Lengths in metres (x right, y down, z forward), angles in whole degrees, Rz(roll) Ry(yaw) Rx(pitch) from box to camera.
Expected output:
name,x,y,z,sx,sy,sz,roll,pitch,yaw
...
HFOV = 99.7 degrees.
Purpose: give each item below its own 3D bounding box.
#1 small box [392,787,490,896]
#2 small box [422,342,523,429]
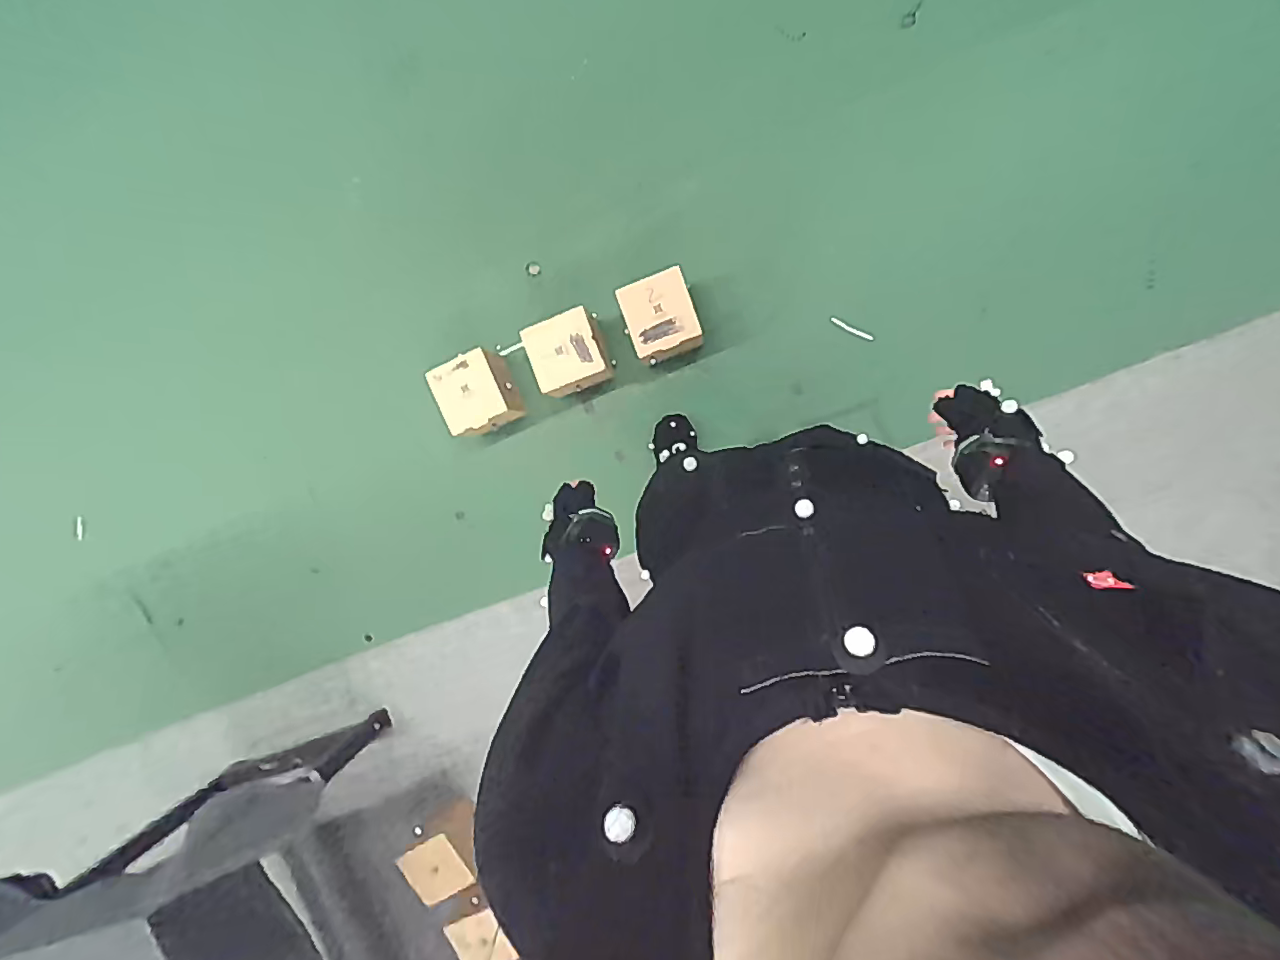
name,x,y,z,sx,sy,sz,roll,pitch,yaw
small box,-0.574,1.049,1.582,0.179,0.176,0.168,-33,92,9
small box,-0.433,-0.247,1.432,0.168,0.176,0.179,-22,94,8
